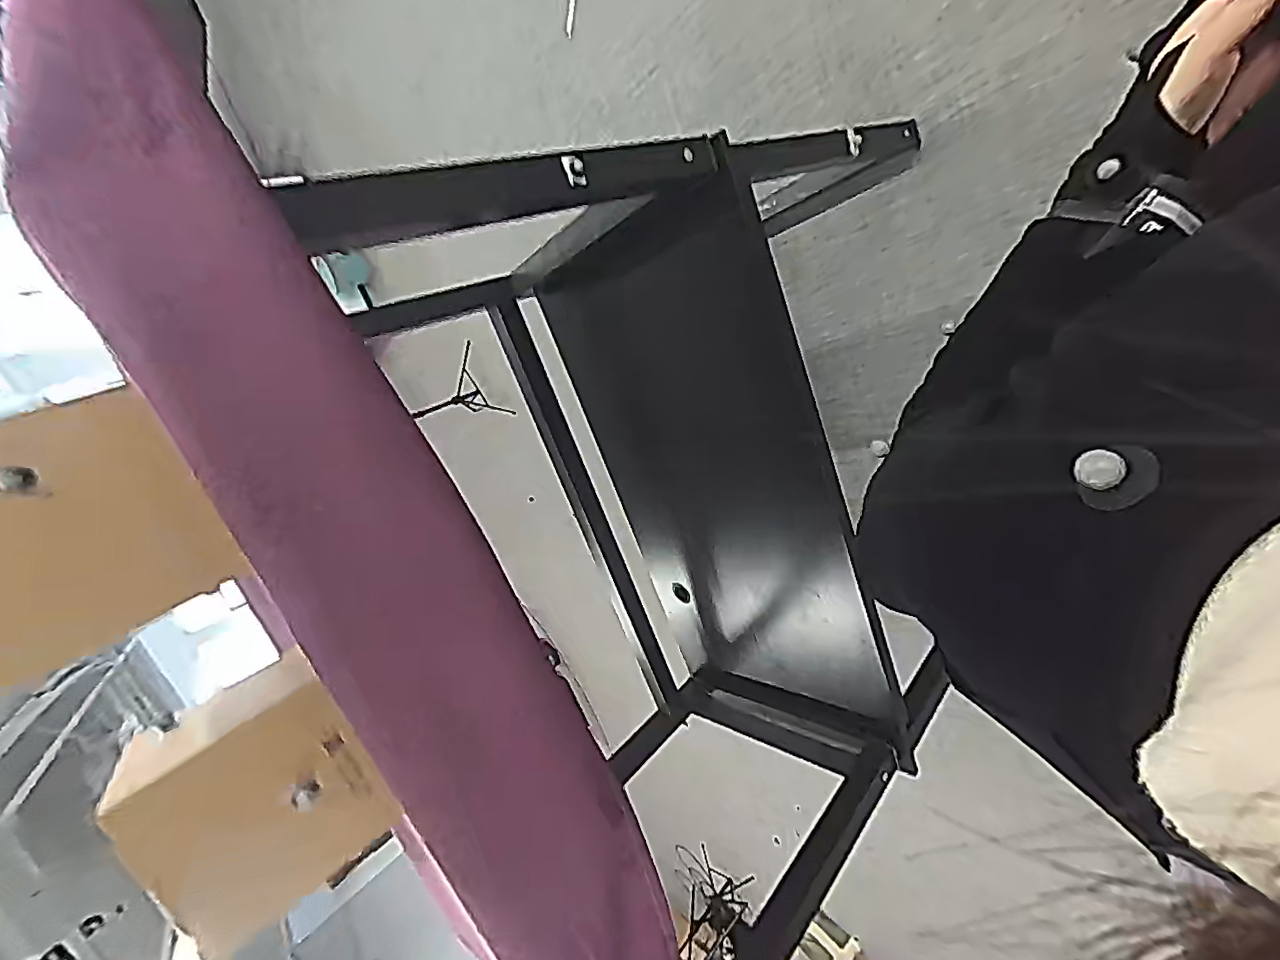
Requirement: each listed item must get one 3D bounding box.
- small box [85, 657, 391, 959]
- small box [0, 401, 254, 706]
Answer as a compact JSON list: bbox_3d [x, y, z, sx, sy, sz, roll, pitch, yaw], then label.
[{"bbox_3d":[-0.370,0.298,0.526,0.179,0.176,0.168,-6,111,52],"label":"small box"},{"bbox_3d":[-0.461,0.043,0.447,0.168,0.176,0.179,0,117,51],"label":"small box"}]
